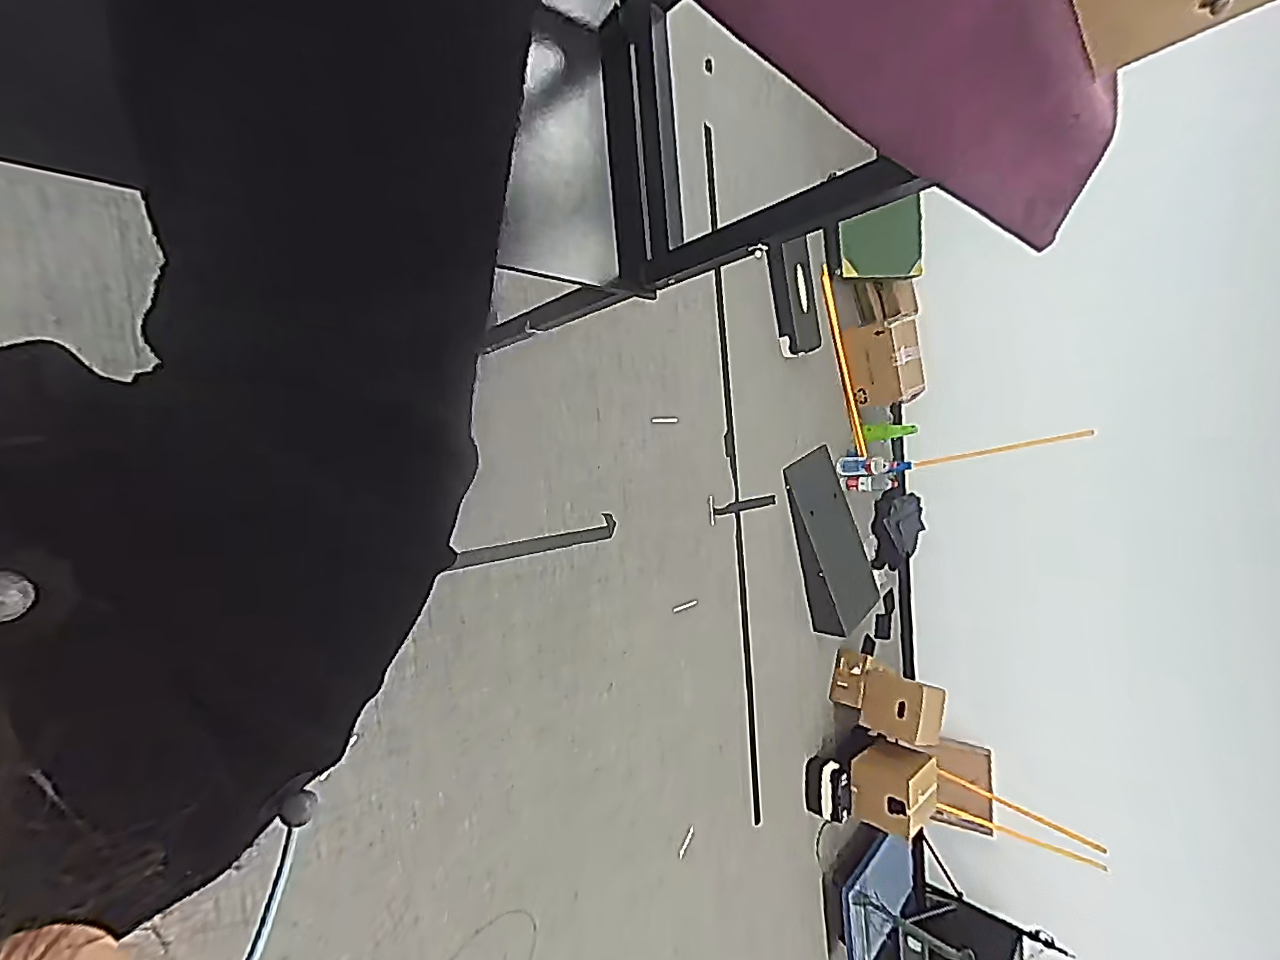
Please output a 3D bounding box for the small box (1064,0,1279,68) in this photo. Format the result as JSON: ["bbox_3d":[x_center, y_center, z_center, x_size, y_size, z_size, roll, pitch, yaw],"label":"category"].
[{"bbox_3d":[0.462,-0.497,0.449,0.179,0.176,0.168,0,88,-43],"label":"small box"}]
